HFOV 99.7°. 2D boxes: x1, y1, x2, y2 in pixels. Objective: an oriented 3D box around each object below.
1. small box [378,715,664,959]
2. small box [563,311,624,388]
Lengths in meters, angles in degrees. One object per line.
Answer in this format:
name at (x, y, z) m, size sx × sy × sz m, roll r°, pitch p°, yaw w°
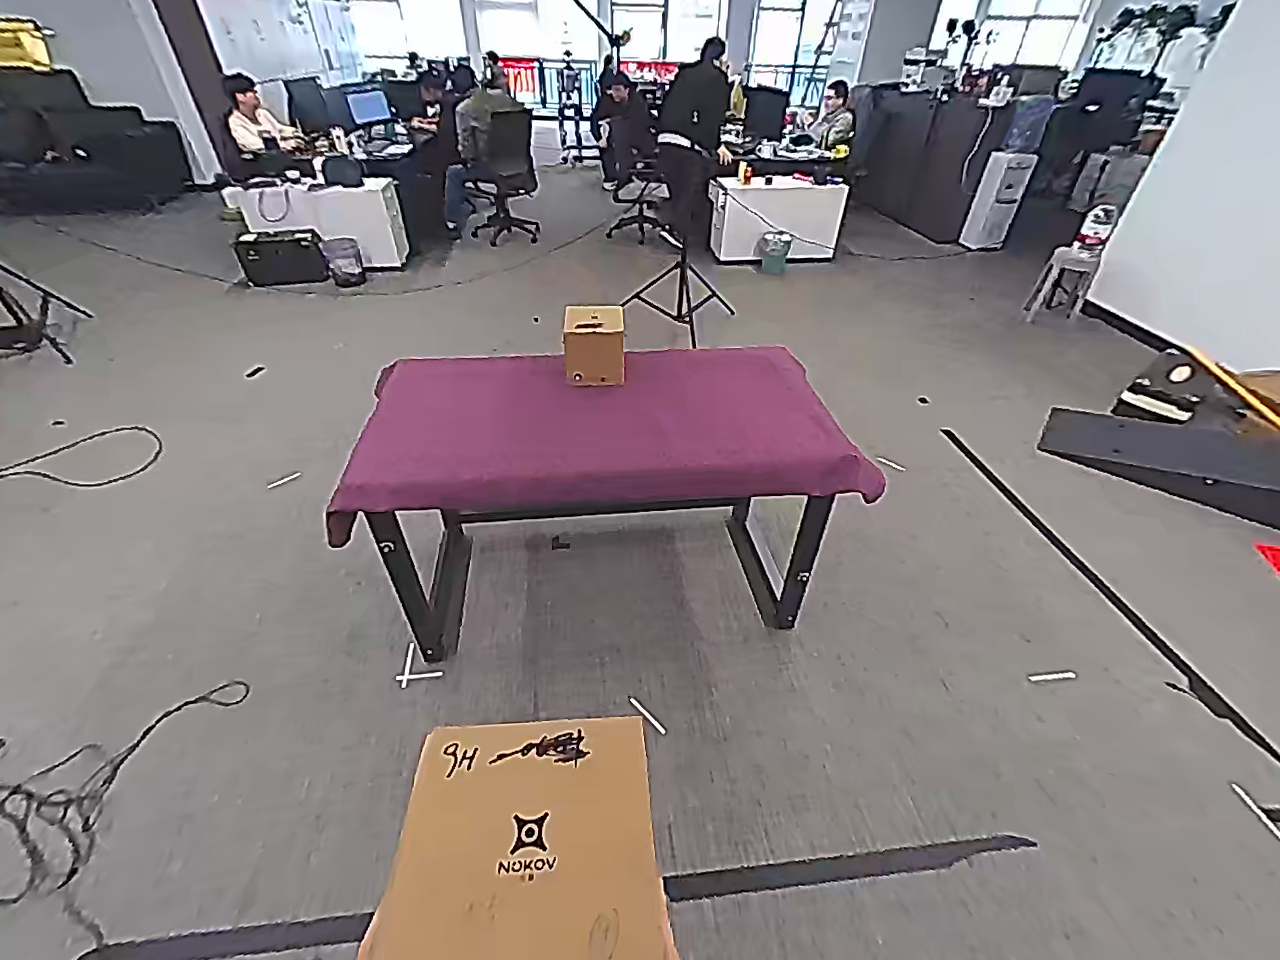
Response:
small box at (-0.072, 0.303, 0.397) m, size 0.168 × 0.176 × 0.179 m, roll -1°, pitch 36°, yaw -5°
small box at (-0.131, -0.379, 1.577) m, size 0.168 × 0.176 × 0.179 m, roll -1°, pitch 40°, yaw -3°
